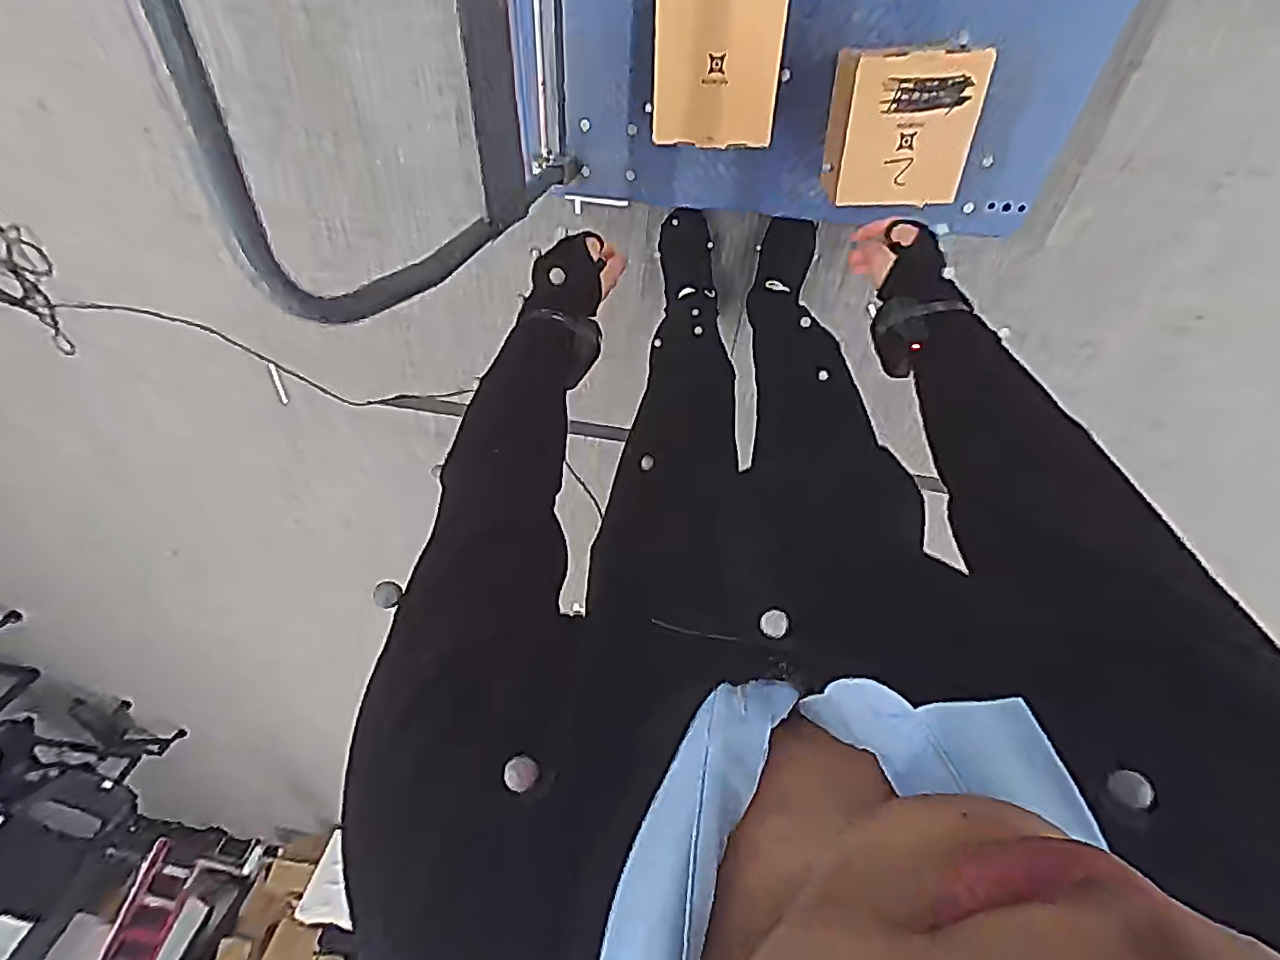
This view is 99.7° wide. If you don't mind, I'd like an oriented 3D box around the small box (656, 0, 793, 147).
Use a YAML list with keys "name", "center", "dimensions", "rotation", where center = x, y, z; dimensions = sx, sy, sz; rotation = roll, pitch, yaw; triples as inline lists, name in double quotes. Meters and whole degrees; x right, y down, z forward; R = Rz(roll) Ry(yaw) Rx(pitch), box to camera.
- name: "small box"
  center: [0.112, -0.588, 0.763]
  dimensions: [0.168, 0.176, 0.179]
  rotation: [4, 131, 5]
